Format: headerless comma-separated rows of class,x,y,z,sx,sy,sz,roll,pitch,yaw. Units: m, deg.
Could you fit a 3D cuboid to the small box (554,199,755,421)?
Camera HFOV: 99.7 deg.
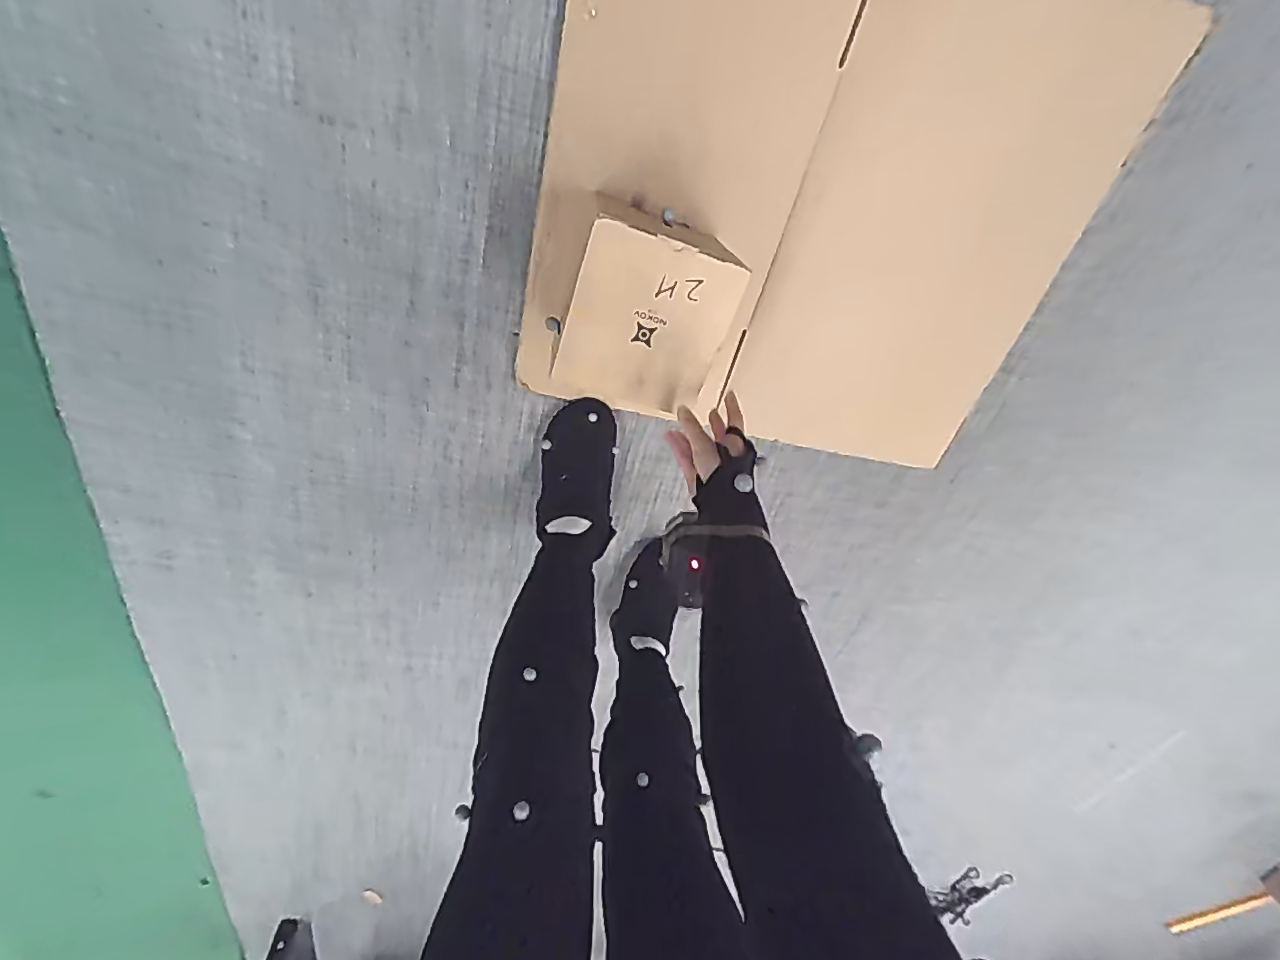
small box,0.006,-0.200,0.627,0.168,0.176,0.179,14,120,-16
